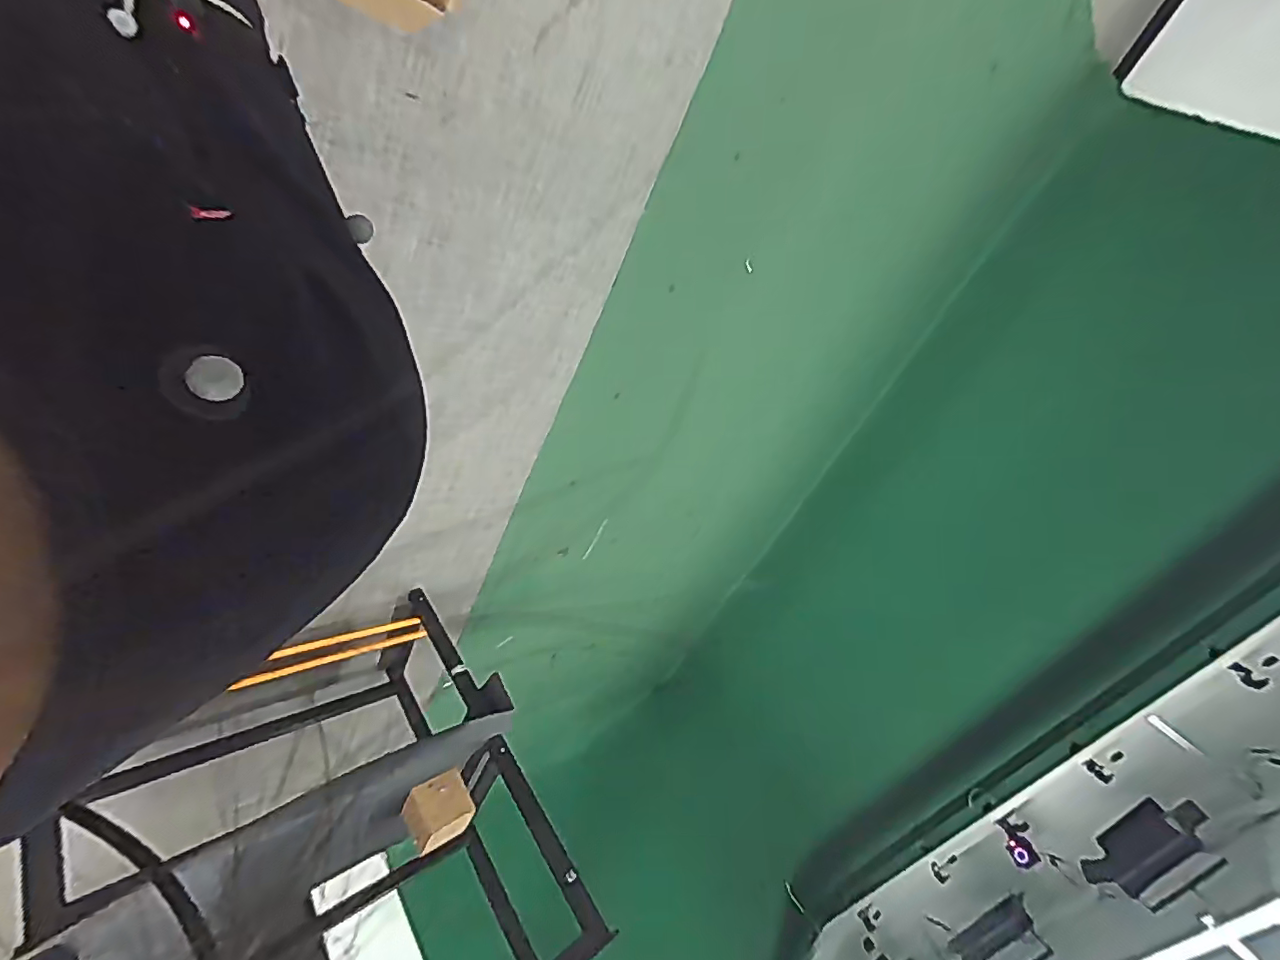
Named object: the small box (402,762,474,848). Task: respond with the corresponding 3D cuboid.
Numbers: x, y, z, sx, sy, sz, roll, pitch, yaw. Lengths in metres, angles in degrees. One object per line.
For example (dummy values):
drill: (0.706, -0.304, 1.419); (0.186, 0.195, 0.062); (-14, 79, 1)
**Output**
small box: (-0.718, 1.140, 1.907); (0.168, 0.176, 0.179); (-6, 134, -47)
